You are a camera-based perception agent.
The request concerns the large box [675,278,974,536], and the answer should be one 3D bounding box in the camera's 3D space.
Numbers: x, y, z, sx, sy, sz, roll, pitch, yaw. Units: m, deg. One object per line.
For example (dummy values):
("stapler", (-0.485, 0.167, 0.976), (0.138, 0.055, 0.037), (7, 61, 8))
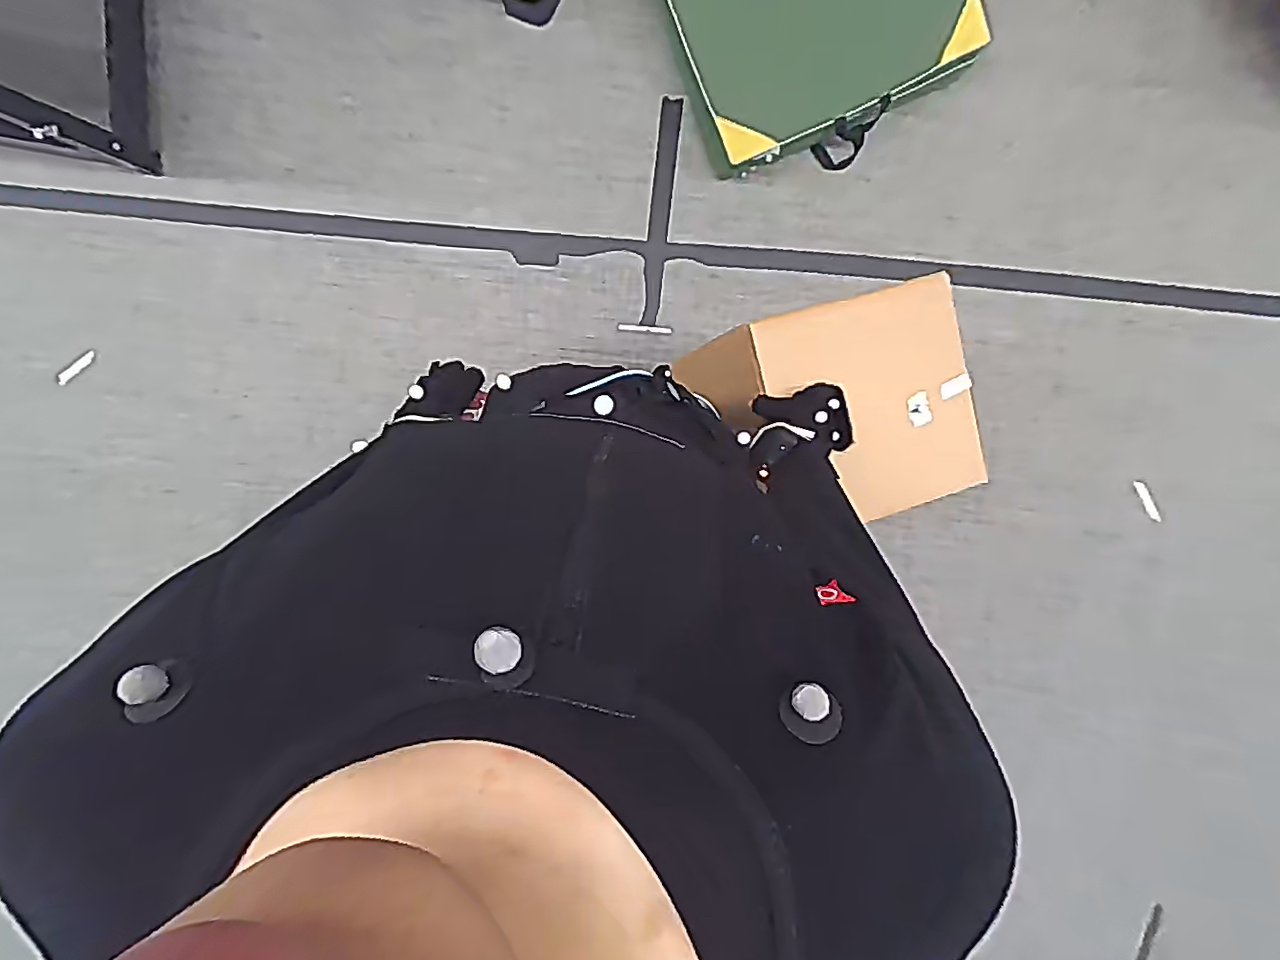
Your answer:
("large box", (0.289, -0.119, 0.960), (0.320, 0.408, 0.320), (-16, 97, -9))
